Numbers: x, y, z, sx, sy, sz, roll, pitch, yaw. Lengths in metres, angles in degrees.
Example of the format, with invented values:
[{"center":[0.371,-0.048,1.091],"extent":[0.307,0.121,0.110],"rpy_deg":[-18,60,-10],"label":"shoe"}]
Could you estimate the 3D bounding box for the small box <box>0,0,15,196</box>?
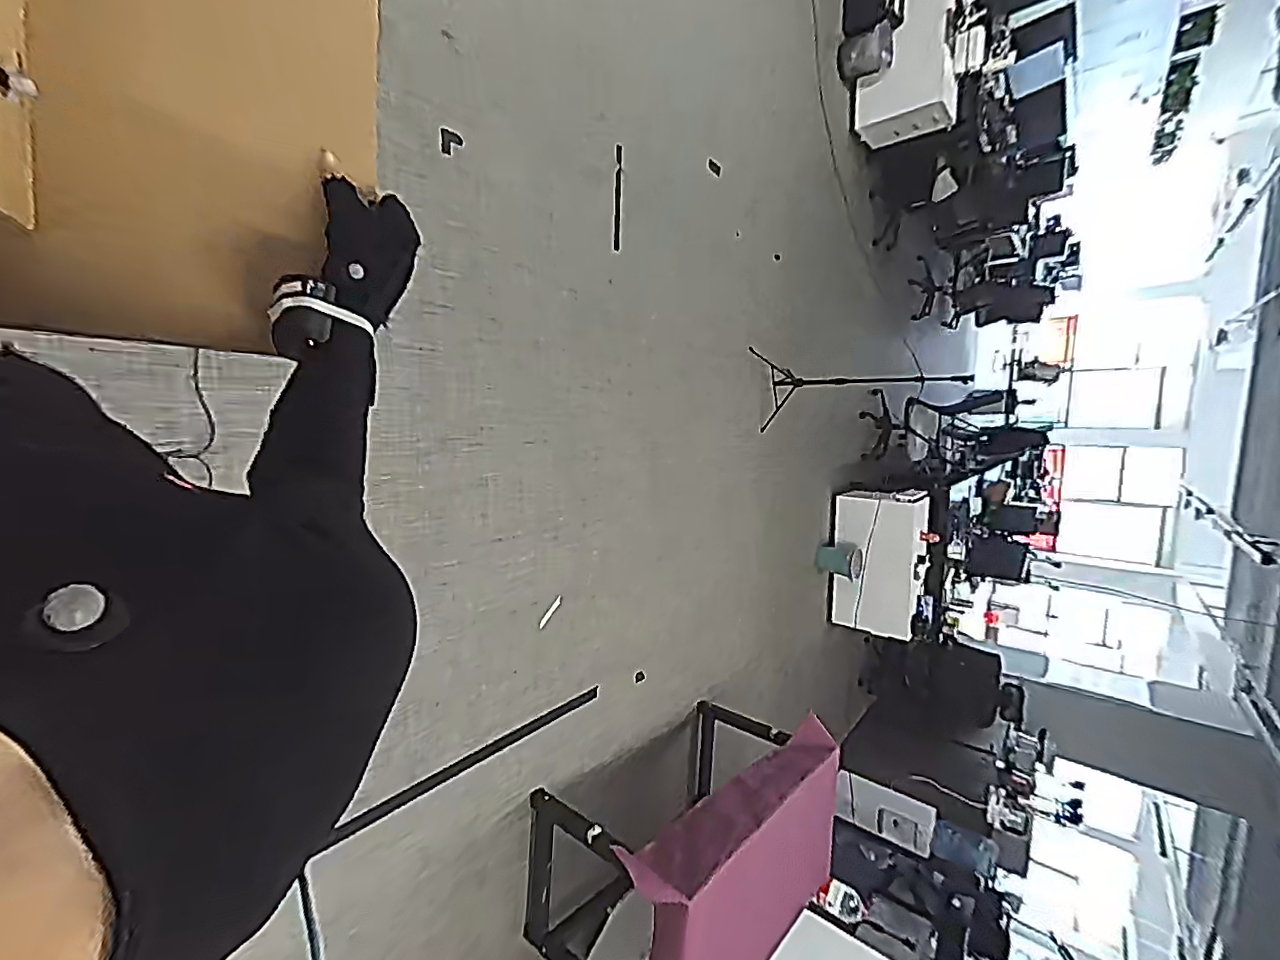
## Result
[{"center":[-0.457,-0.258,0.270],"extent":[0.179,0.176,0.168],"rpy_deg":[1,100,-40],"label":"small box"}]
